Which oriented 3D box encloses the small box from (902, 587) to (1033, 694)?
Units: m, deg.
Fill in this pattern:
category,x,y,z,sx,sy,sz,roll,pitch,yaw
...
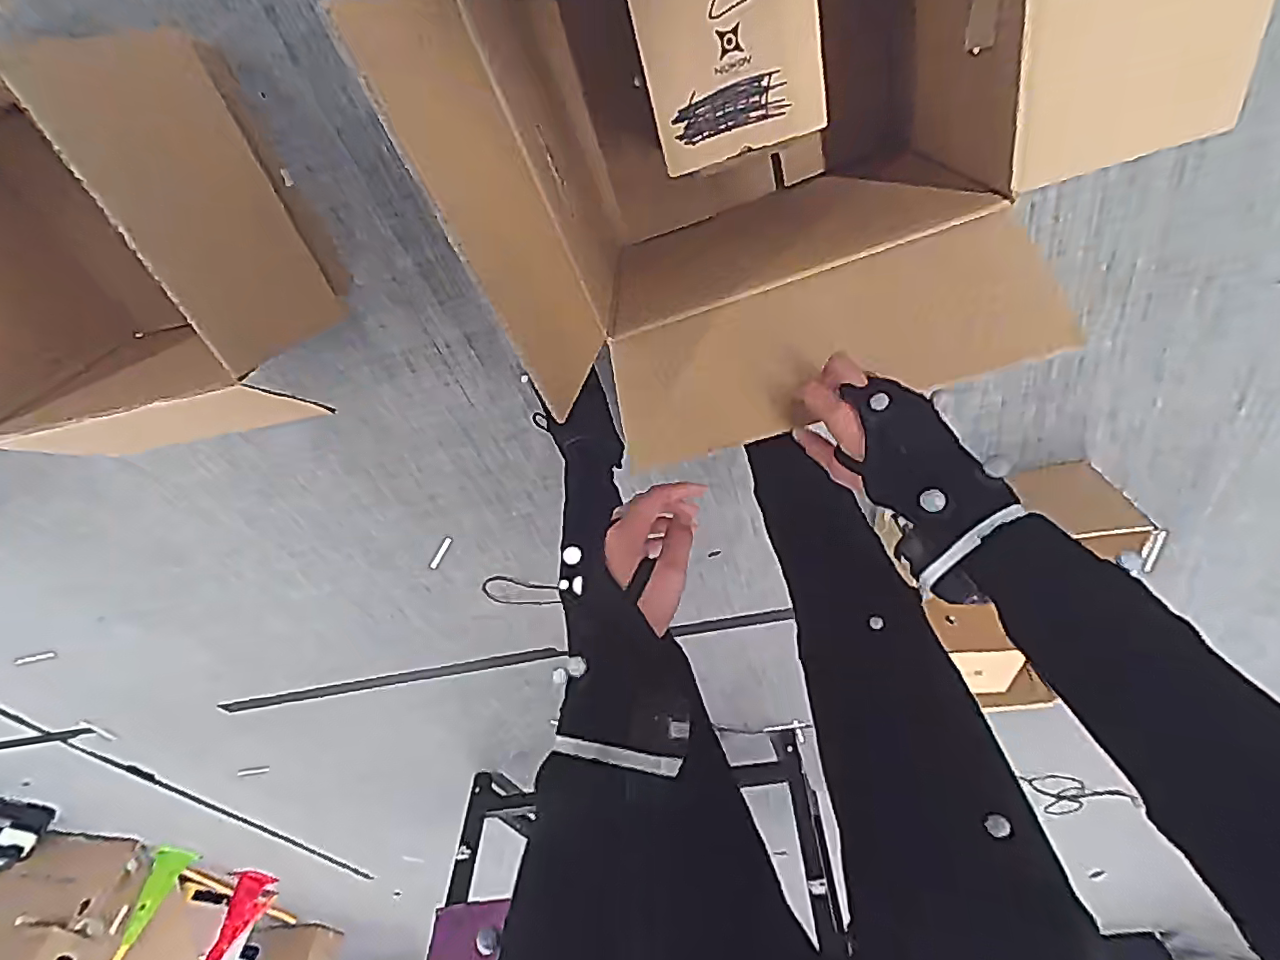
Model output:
category,x,y,z,sx,sy,sz,roll,pitch,yaw
small box,0.710,0.354,1.200,0.179,0.176,0.168,-3,129,3
